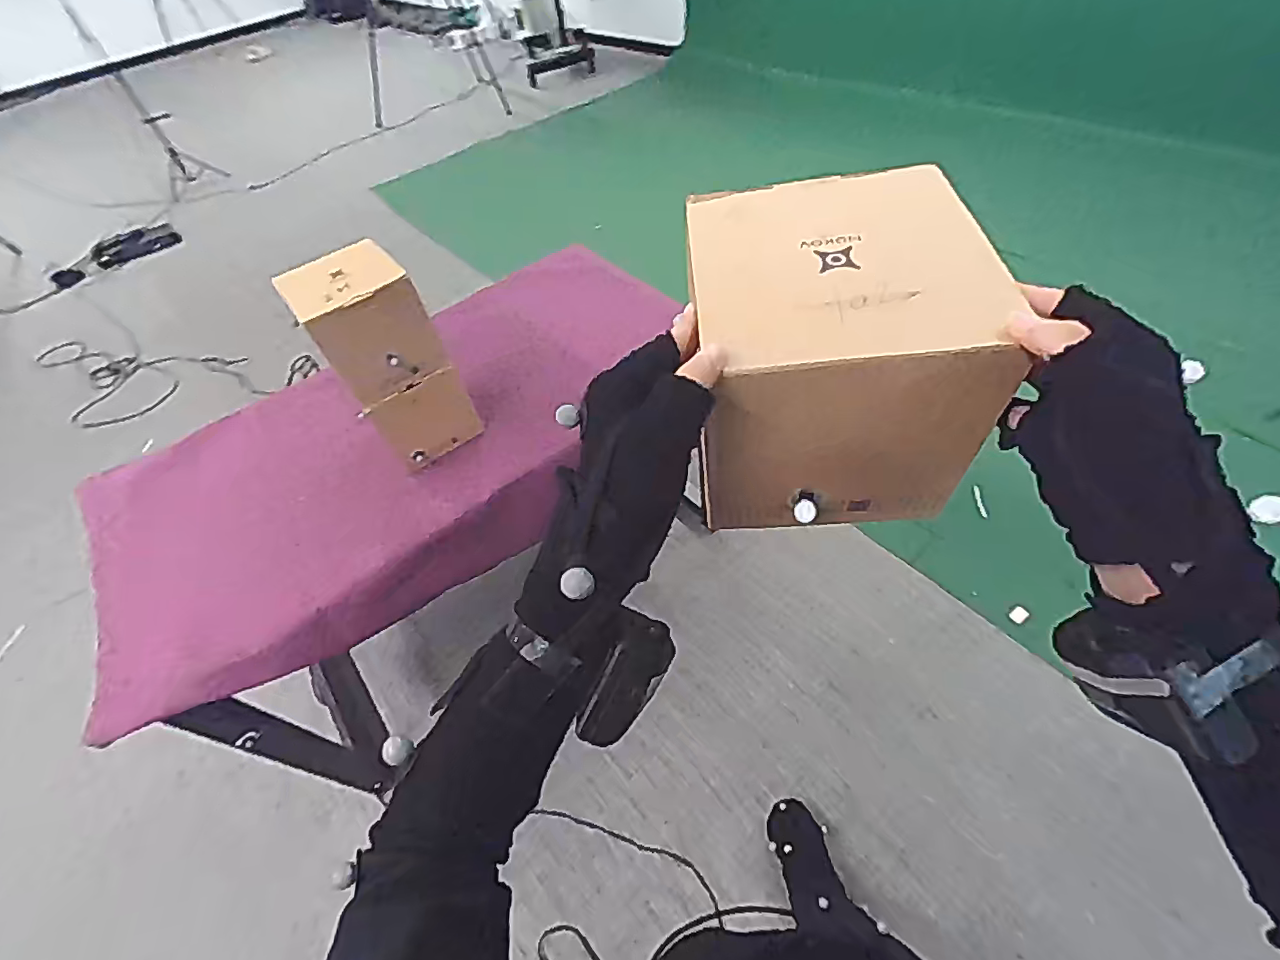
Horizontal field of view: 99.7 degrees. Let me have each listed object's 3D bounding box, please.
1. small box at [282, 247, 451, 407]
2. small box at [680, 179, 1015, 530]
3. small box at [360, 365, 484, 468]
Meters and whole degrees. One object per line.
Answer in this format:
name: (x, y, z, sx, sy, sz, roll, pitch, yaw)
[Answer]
small box: (-0.448, -0.253, 0.902, 0.168, 0.176, 0.179, -35, 55, -18)
small box: (0.117, -0.083, 0.390, 0.168, 0.176, 0.179, -5, 54, 6)
small box: (-0.423, -0.146, 1.024, 0.168, 0.176, 0.179, -34, 53, -19)
